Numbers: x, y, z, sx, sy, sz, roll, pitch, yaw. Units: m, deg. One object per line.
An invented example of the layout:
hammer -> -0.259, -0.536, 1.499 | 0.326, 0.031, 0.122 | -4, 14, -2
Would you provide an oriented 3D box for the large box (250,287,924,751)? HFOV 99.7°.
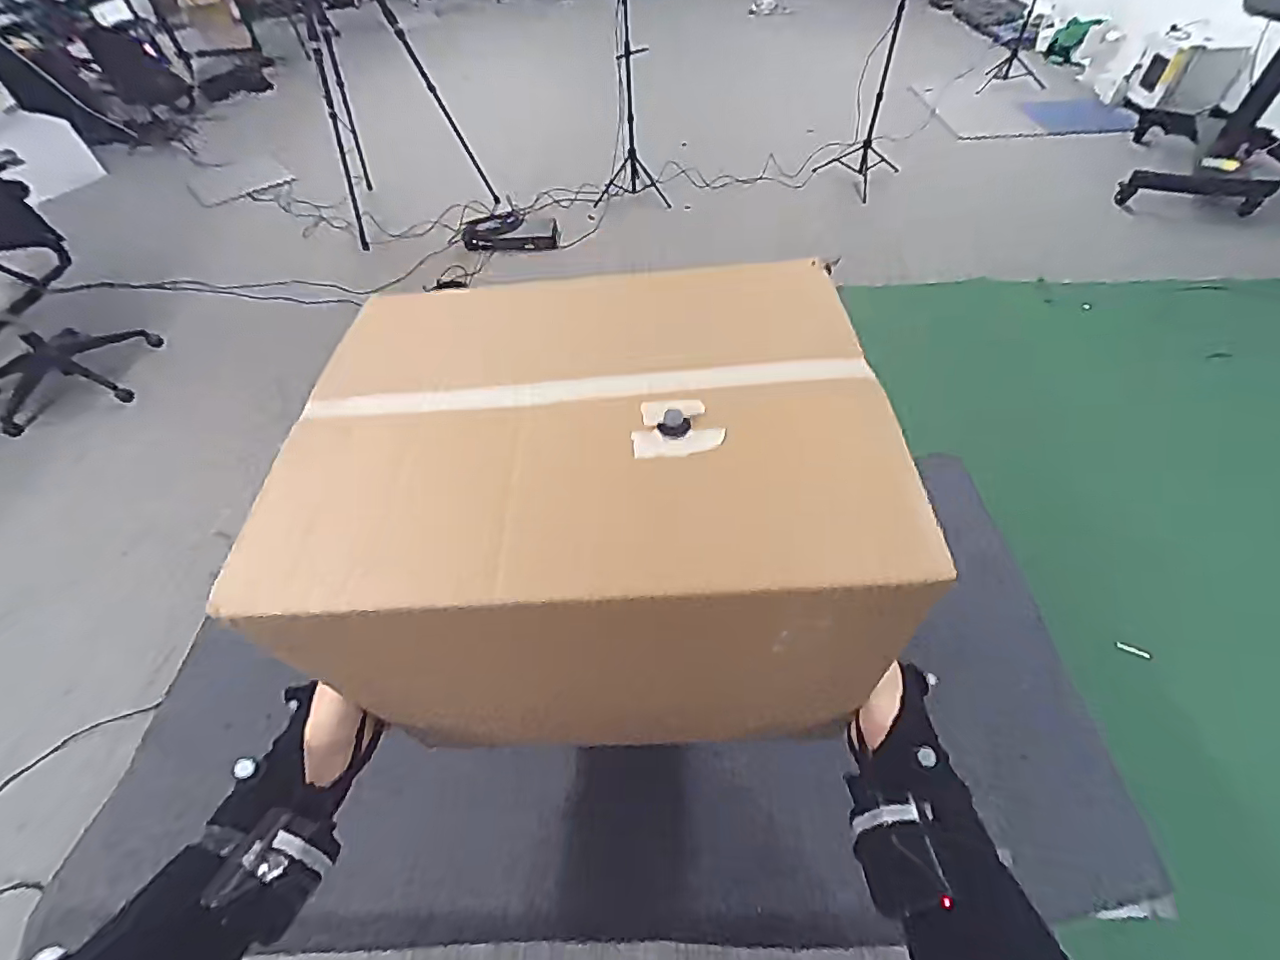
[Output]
large box -> -0.028, 0.049, 0.519 | 0.408, 0.320, 0.320 | -4, 51, 3
